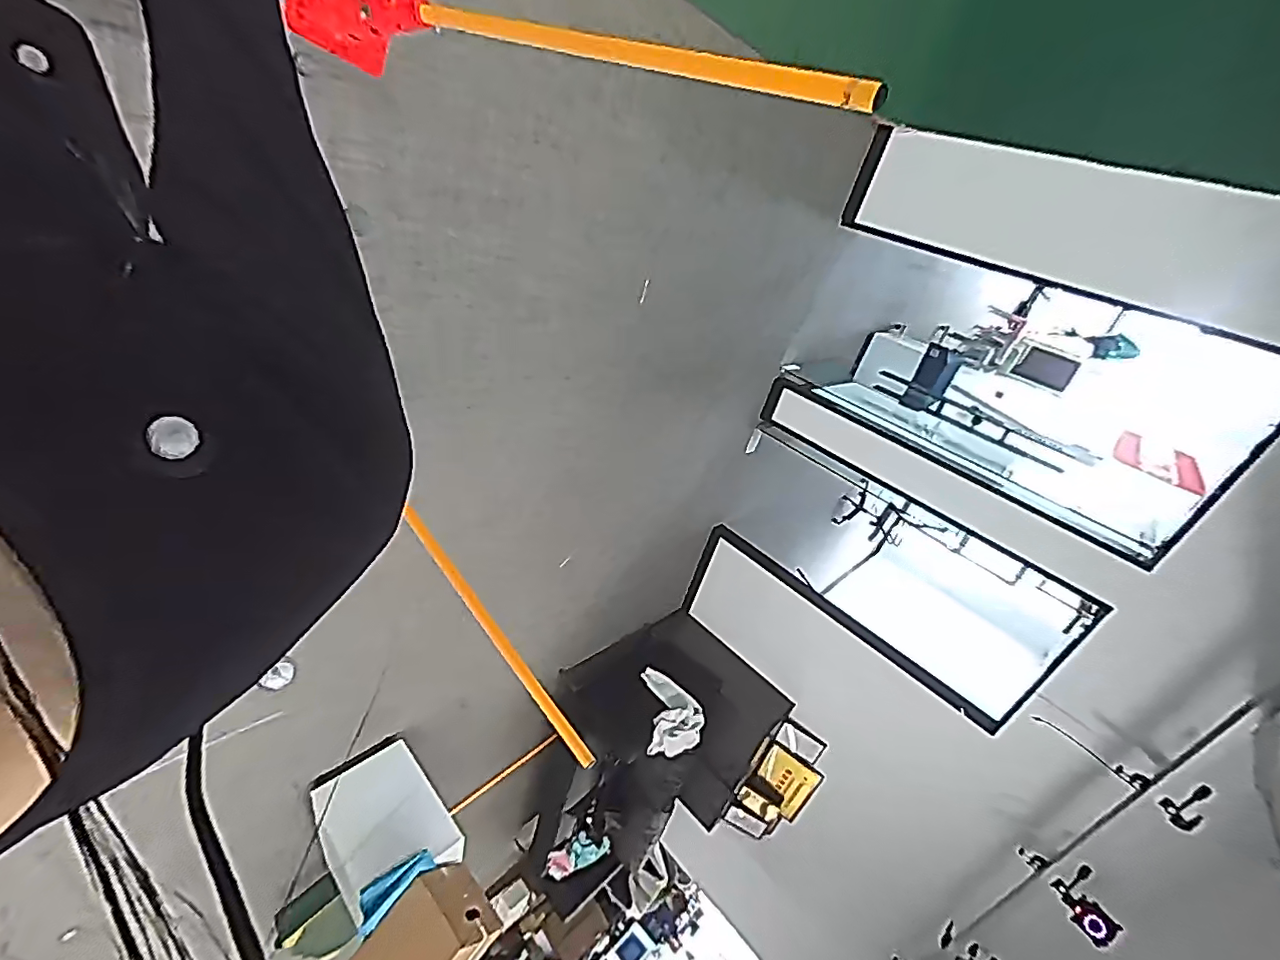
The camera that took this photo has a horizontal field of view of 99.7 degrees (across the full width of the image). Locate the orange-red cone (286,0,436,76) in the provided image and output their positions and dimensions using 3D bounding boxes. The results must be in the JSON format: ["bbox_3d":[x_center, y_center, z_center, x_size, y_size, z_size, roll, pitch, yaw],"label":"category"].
[{"bbox_3d":[-0.488,-0.896,1.024,0.198,0.360,0.199,-2,123,-52],"label":"orange-red cone"}]
